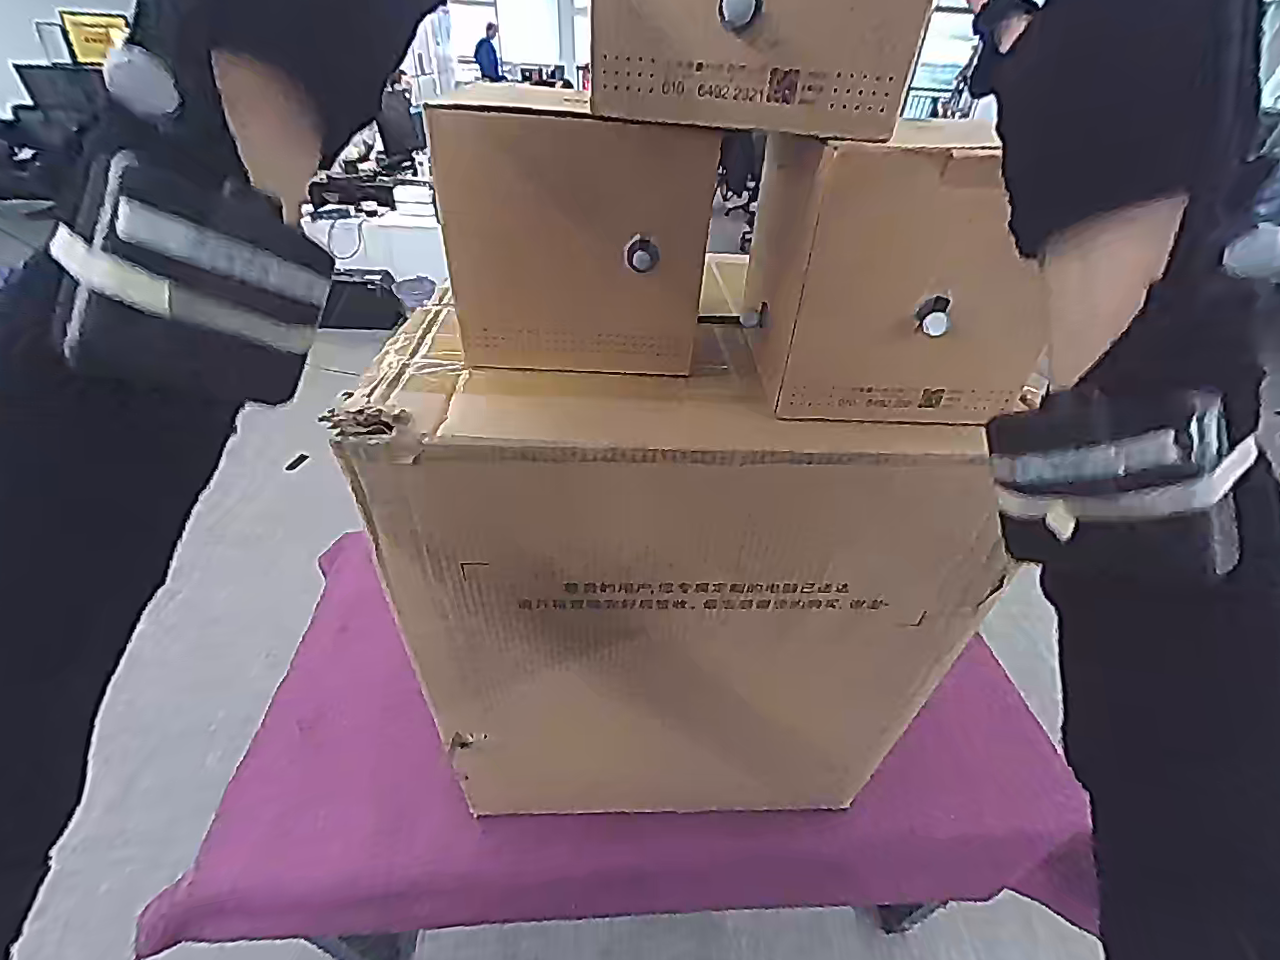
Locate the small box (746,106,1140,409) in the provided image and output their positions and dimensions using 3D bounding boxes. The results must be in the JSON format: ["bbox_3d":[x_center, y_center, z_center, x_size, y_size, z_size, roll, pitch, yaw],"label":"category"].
[{"bbox_3d":[0.180,-0.164,0.395,0.168,0.176,0.179,2,39,-1],"label":"small box"}]

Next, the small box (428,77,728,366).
[{"bbox_3d":[-0.041,-0.200,0.422,0.179,0.176,0.168,1,38,-4],"label":"small box"}]

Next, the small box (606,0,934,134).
[{"bbox_3d":[0.077,-0.311,0.308,0.168,0.176,0.179,9,39,7],"label":"small box"}]
